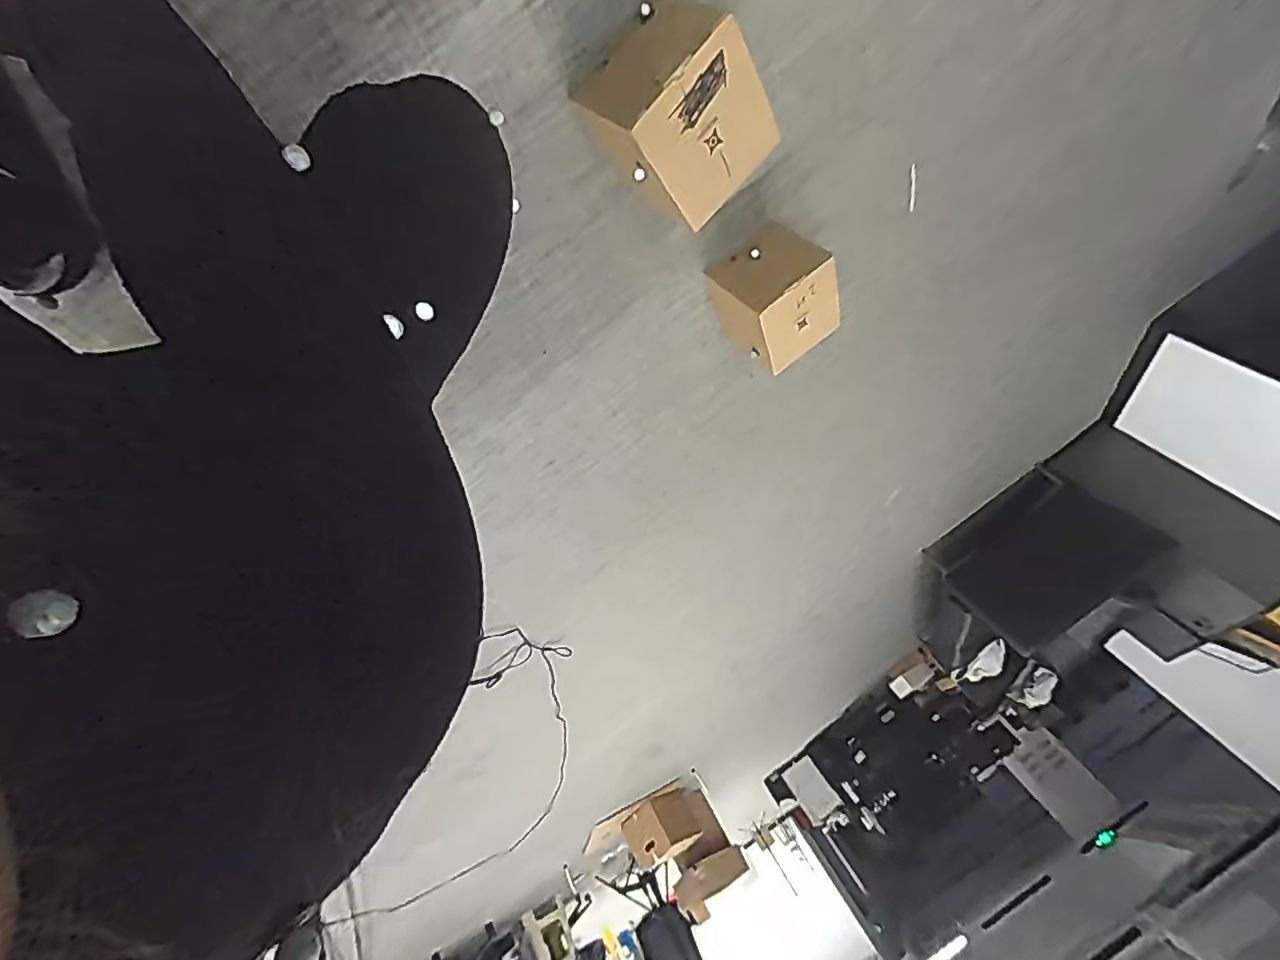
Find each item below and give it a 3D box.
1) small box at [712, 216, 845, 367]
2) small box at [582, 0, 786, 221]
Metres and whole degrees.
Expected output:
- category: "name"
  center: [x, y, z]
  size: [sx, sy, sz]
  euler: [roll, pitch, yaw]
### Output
- category: "small box"
  center: [0.262, -0.357, 1.022]
  size: [0.168, 0.176, 0.179]
  euler: [-38, 144, 0]
- category: "small box"
  center: [0.054, -0.489, 0.709]
  size: [0.168, 0.176, 0.179]
  euler: [-45, 144, 11]
